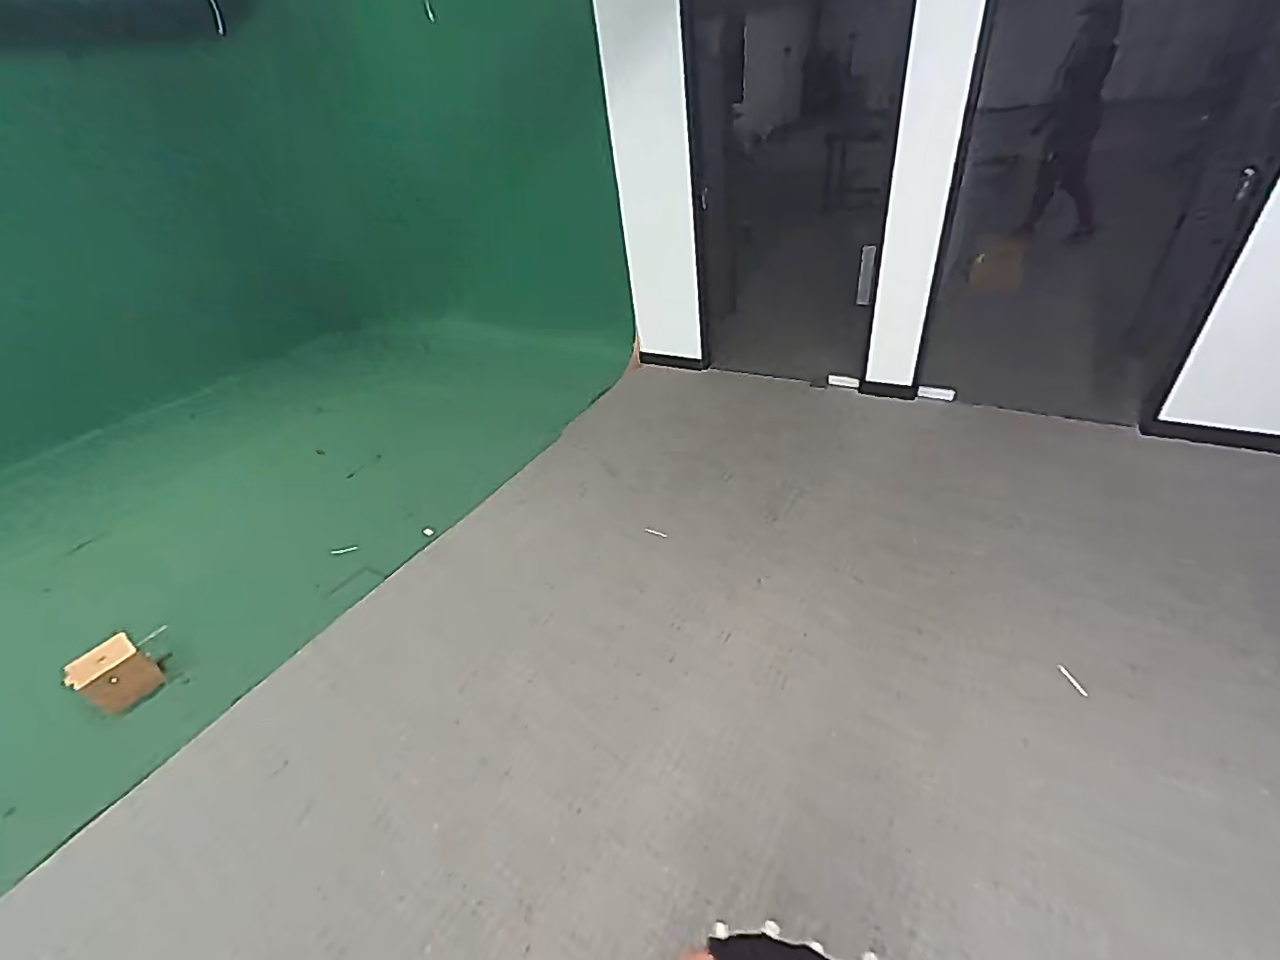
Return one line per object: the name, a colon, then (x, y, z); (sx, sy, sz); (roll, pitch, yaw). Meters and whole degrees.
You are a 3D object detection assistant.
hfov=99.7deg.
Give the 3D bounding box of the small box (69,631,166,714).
small box: (-1.816, 0.672, 1.891); (0.168, 0.176, 0.179); (19, 44, 32)
